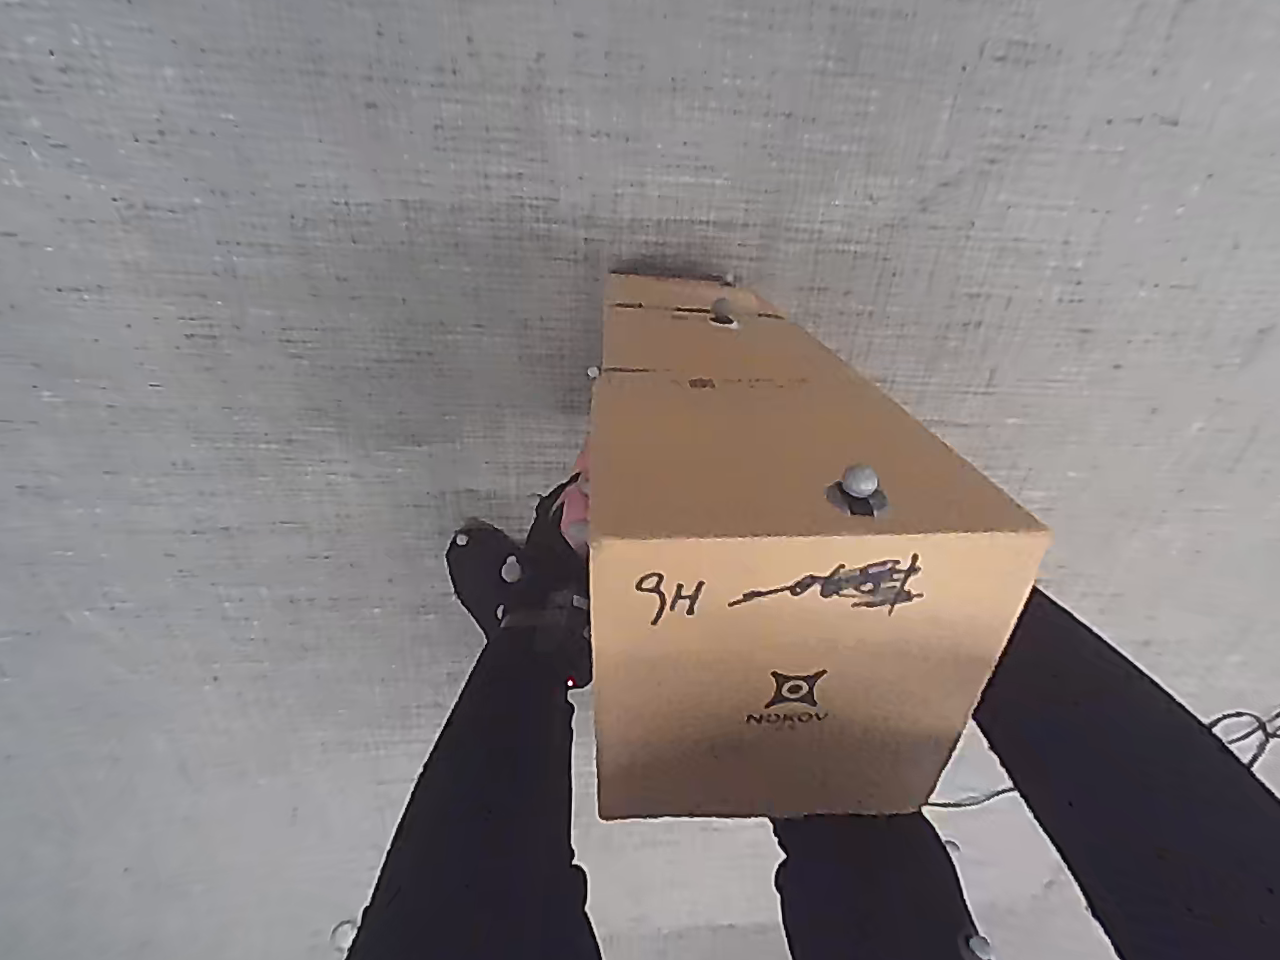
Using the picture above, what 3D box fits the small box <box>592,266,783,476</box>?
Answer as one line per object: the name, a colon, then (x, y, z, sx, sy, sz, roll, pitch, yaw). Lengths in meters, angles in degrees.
small box: (0.035, -0.121, 0.570, 0.168, 0.176, 0.179, 2, 120, -4)
